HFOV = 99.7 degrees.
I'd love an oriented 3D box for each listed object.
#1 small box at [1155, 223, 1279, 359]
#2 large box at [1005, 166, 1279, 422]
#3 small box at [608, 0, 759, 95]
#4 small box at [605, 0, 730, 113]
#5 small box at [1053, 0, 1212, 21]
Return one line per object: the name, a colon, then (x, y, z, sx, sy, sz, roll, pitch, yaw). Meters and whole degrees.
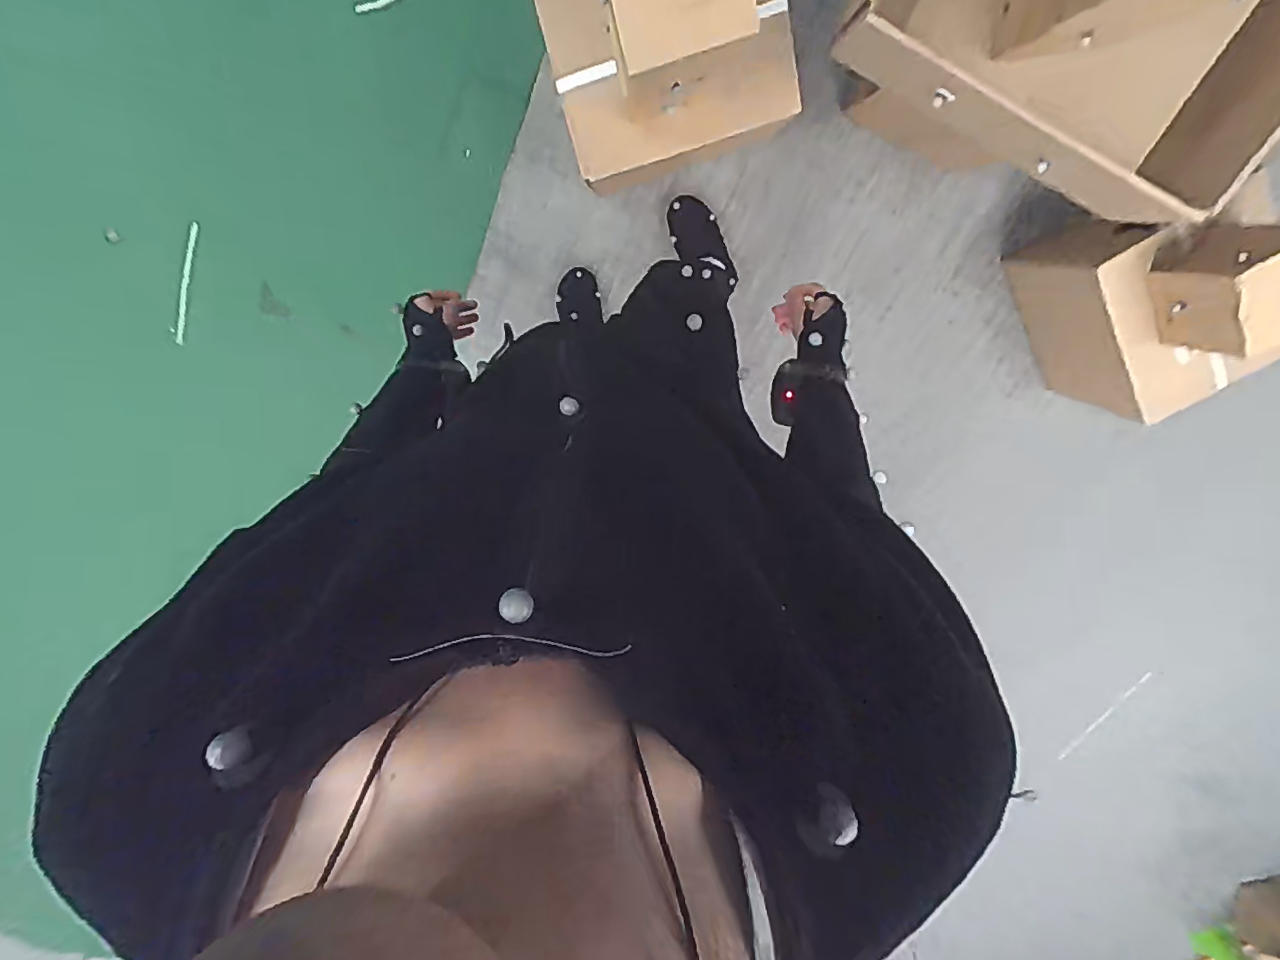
small box: (1.102, -0.348, 0.978, 0.179, 0.176, 0.168, -28, 112, 11)
large box: (1.120, -0.413, 1.217, 0.320, 0.320, 0.408, -32, 112, 14)
small box: (0.042, -0.623, 0.679, 0.168, 0.176, 0.179, -13, 114, 7)
small box: (0.037, -0.695, 0.825, 0.168, 0.176, 0.179, -10, 114, 6)
small box: (0.591, -0.613, 0.563, 0.179, 0.176, 0.168, -3, 114, 3)
